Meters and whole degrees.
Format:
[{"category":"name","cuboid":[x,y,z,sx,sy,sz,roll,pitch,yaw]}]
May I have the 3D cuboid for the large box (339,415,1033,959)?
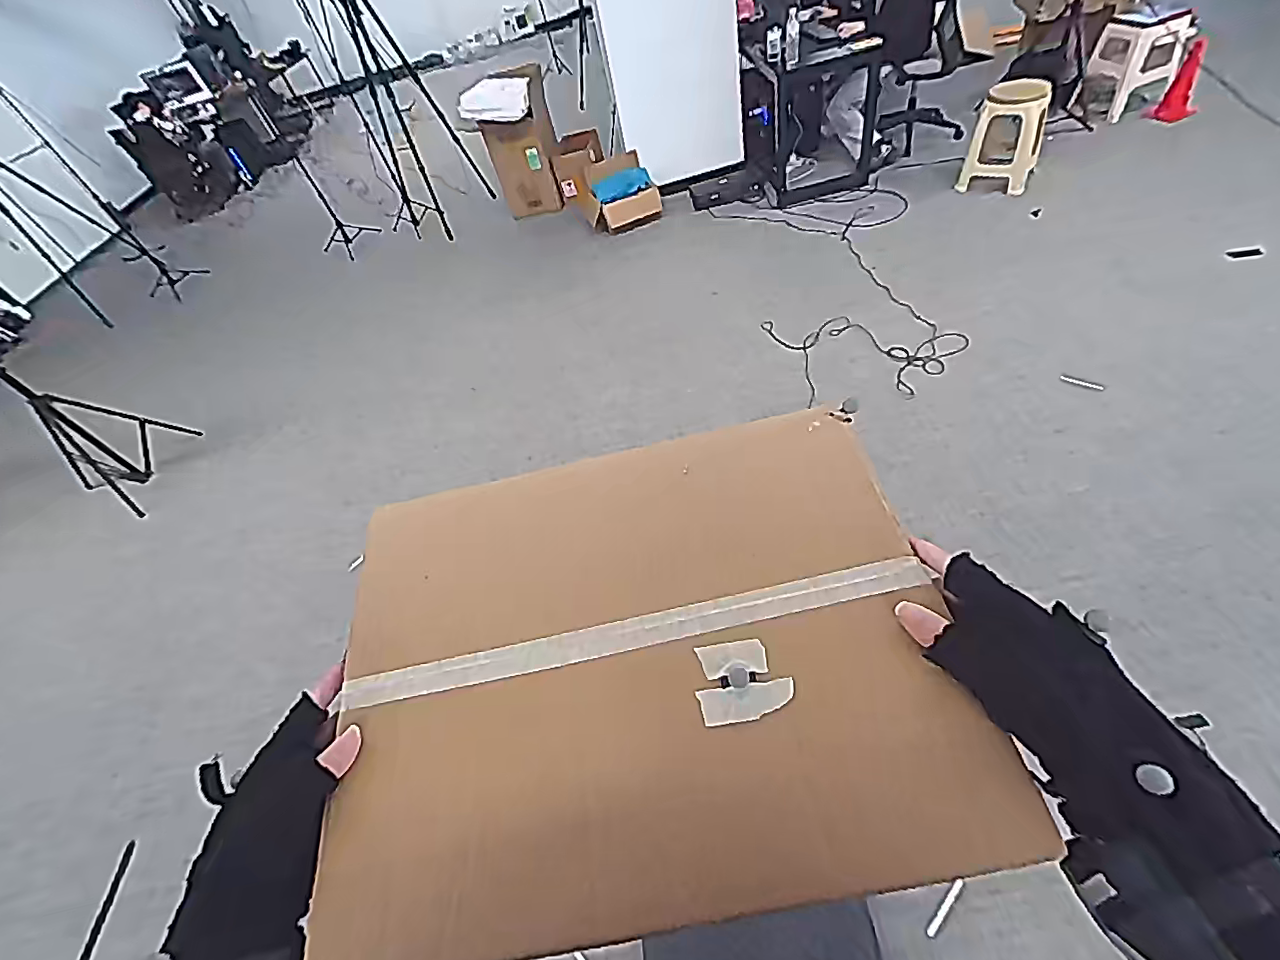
[{"category":"large box","cuboid":[0.019,0.193,0.503,0.408,0.320,0.320,-13,55,2]}]
